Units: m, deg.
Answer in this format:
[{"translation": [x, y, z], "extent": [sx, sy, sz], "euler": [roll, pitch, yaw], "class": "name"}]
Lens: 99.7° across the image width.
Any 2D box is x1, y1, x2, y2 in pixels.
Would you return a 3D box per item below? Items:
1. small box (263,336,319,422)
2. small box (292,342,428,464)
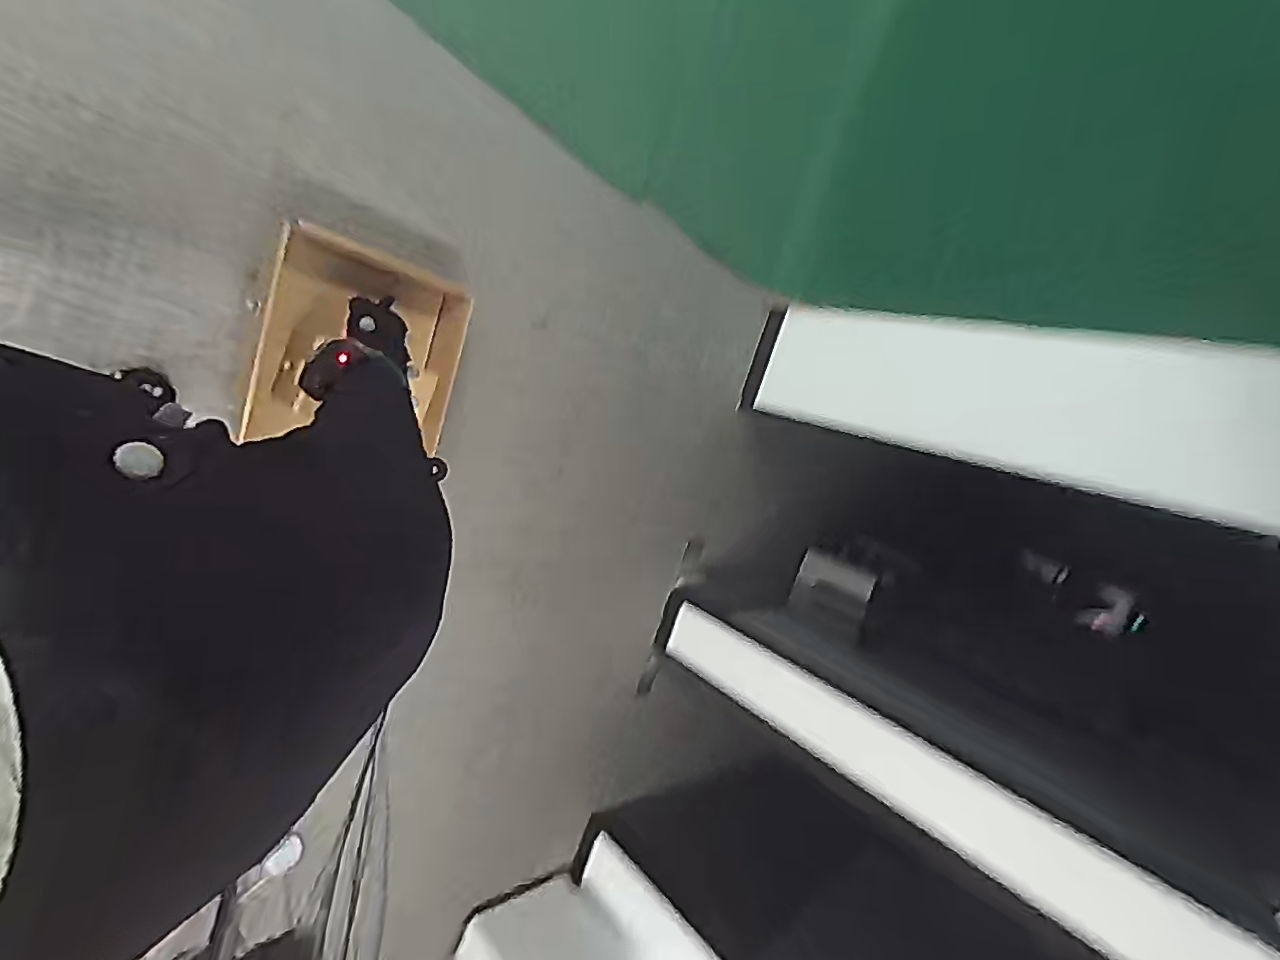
[{"translation": [-0.685, -0.201, 1.176], "extent": [0.179, 0.176, 0.168], "euler": [20, 92, -50], "class": "small box"}, {"translation": [-0.562, -0.154, 1.076], "extent": [0.168, 0.176, 0.179], "euler": [23, 89, -51], "class": "small box"}]
